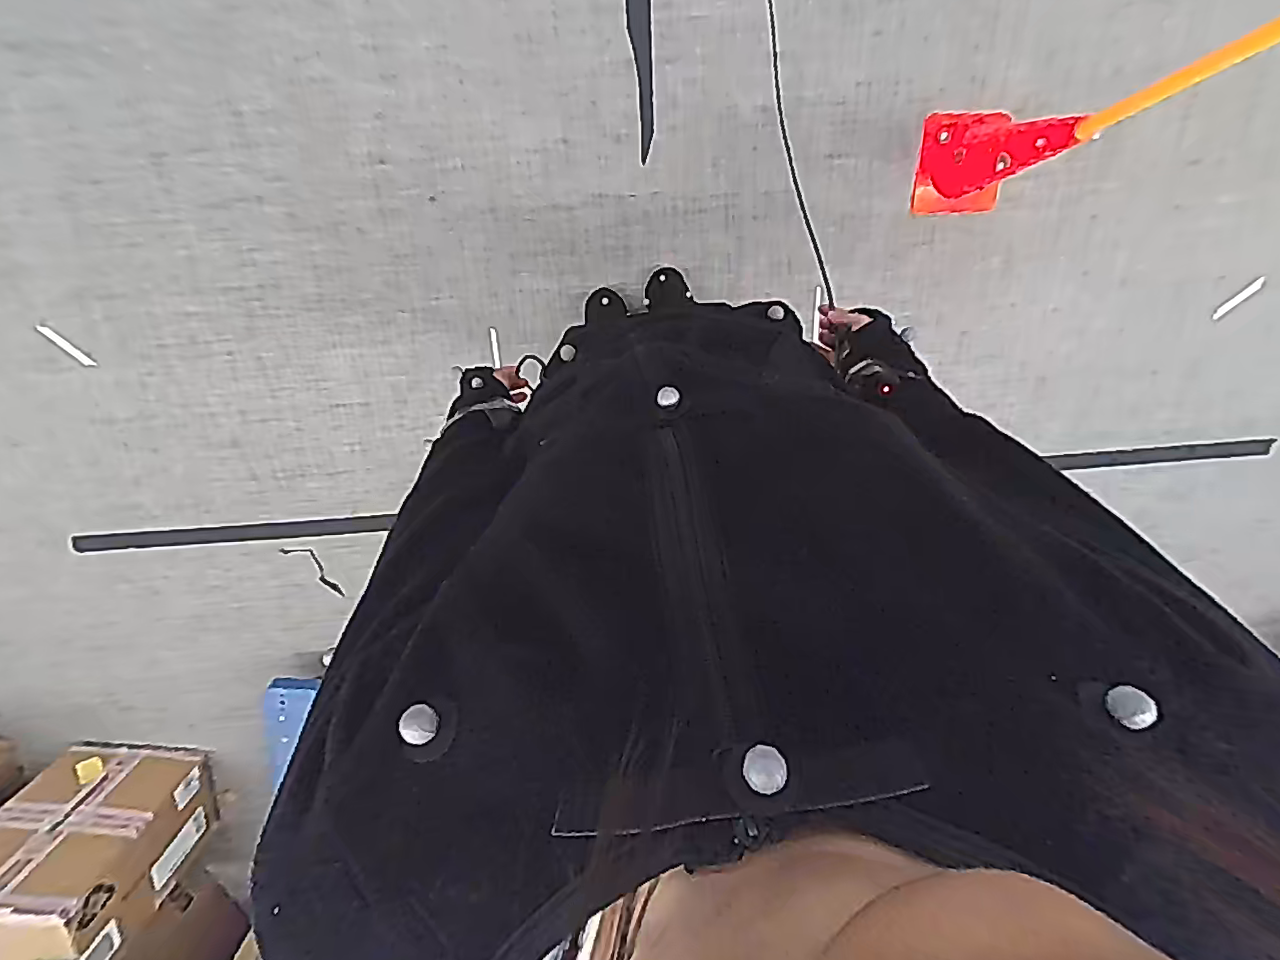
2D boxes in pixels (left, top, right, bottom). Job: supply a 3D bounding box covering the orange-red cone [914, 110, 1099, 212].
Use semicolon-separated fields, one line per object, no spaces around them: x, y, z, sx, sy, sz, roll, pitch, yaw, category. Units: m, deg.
0.733;-0.647;1.053;0.198;0.360;0.199;0;112;-2;orange-red cone
